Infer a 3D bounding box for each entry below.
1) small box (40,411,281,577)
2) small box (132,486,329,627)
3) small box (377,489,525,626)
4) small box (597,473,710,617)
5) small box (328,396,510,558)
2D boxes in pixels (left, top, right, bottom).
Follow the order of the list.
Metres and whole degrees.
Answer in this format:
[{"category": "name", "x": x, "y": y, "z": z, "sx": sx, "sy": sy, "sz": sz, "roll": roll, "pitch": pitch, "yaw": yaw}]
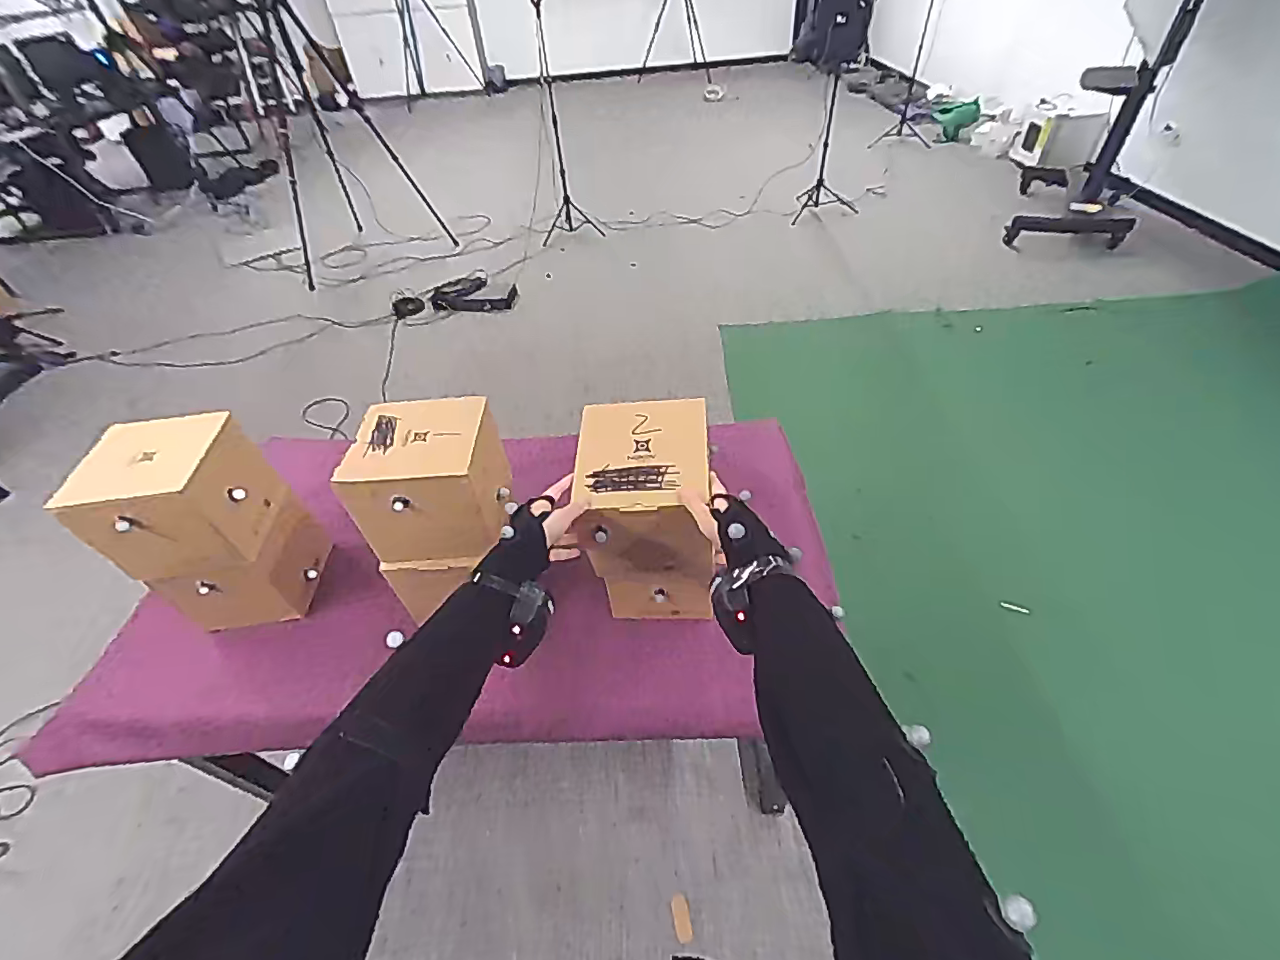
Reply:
[{"category": "small box", "x": -0.678, "y": 0.024, "z": 0.798, "sx": 0.179, "sy": 0.176, "sz": 0.168, "roll": -8, "pitch": 47, "yaw": -2}, {"category": "small box", "x": -0.673, "y": 0.134, "z": 0.916, "sx": 0.179, "sy": 0.176, "sz": 0.168, "roll": -6, "pitch": 46, "yaw": -2}, {"category": "small box", "x": -0.296, "y": 0.121, "z": 0.894, "sx": 0.168, "sy": 0.176, "sz": 0.179, "roll": -2, "pitch": 46, "yaw": 3}, {"category": "small box", "x": 0.029, "y": 0.108, "z": 0.878, "sx": 0.168, "sy": 0.176, "sz": 0.179, "roll": -1, "pitch": 46, "yaw": 5}, {"category": "small box", "x": -0.303, "y": -0.001, "z": 0.784, "sx": 0.179, "sy": 0.176, "sz": 0.168, "roll": -4, "pitch": 45, "yaw": 0}]
